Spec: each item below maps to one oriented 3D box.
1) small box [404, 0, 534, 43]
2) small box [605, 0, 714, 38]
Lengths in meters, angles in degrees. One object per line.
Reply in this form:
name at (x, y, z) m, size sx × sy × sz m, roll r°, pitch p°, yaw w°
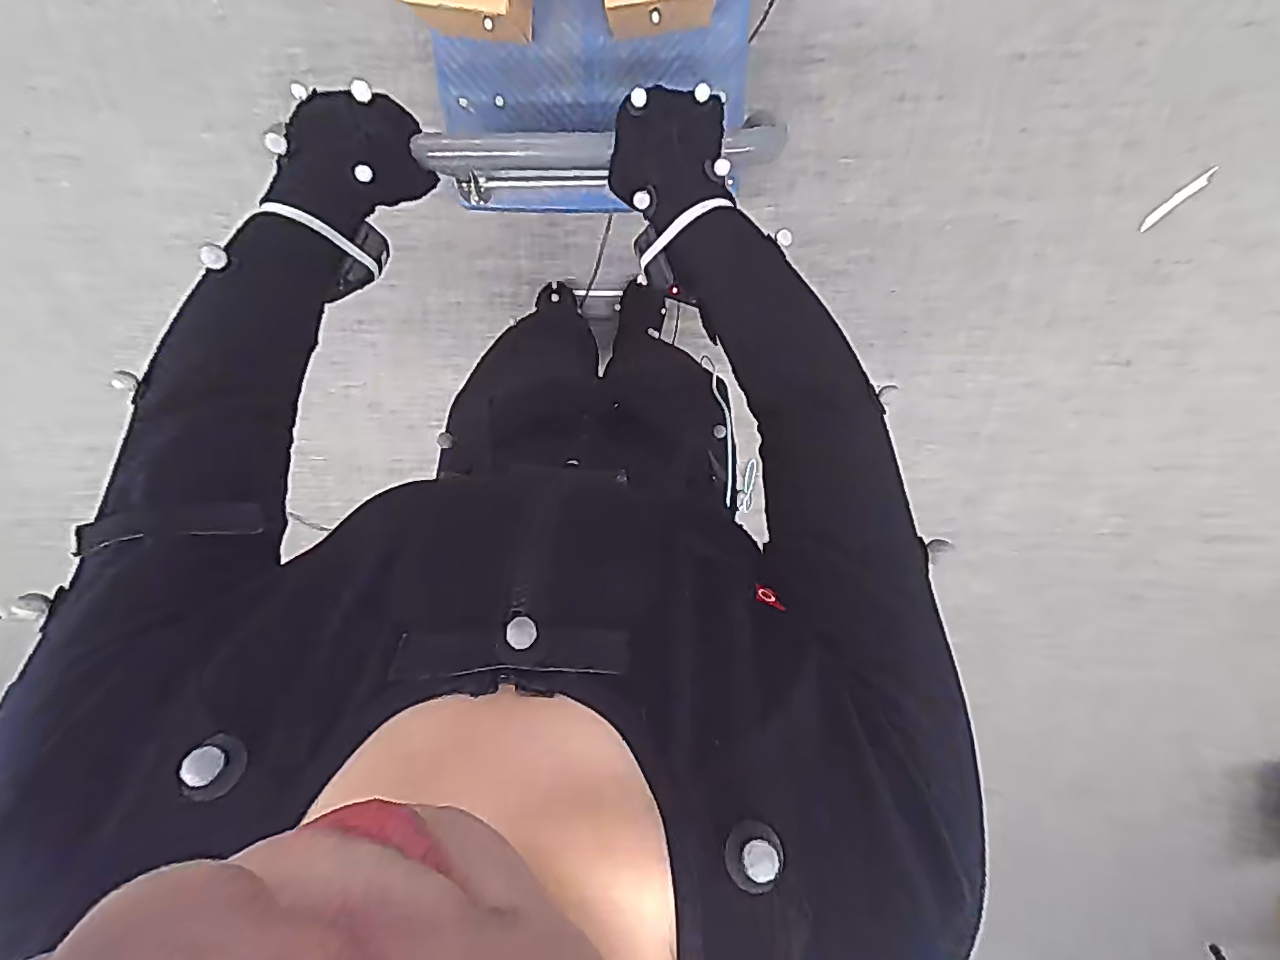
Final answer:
small box at (-0.276, -0.844, 0.881) m, size 0.179 × 0.176 × 0.168 m, roll 5°, pitch 116°, yaw -2°
small box at (0.030, -0.841, 0.867) m, size 0.179 × 0.176 × 0.168 m, roll -4°, pitch 116°, yaw 5°
